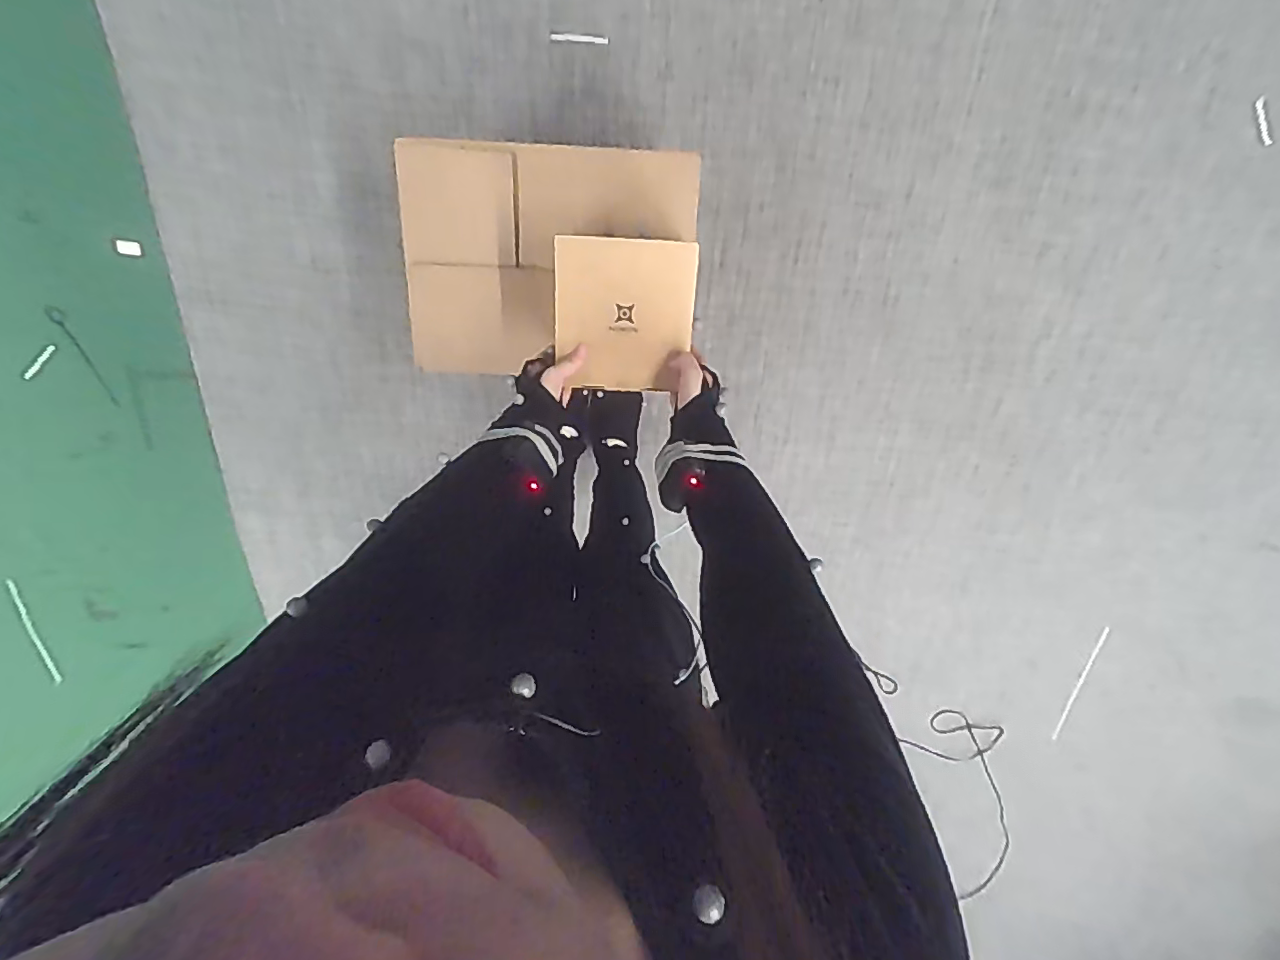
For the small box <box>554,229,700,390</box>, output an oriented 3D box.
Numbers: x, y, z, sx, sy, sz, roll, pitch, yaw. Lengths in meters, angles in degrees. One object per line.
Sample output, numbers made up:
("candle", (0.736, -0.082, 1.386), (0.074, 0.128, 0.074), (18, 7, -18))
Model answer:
("small box", (-0.022, -0.229, 0.714), (0.168, 0.176, 0.179), (3, 115, -3))
